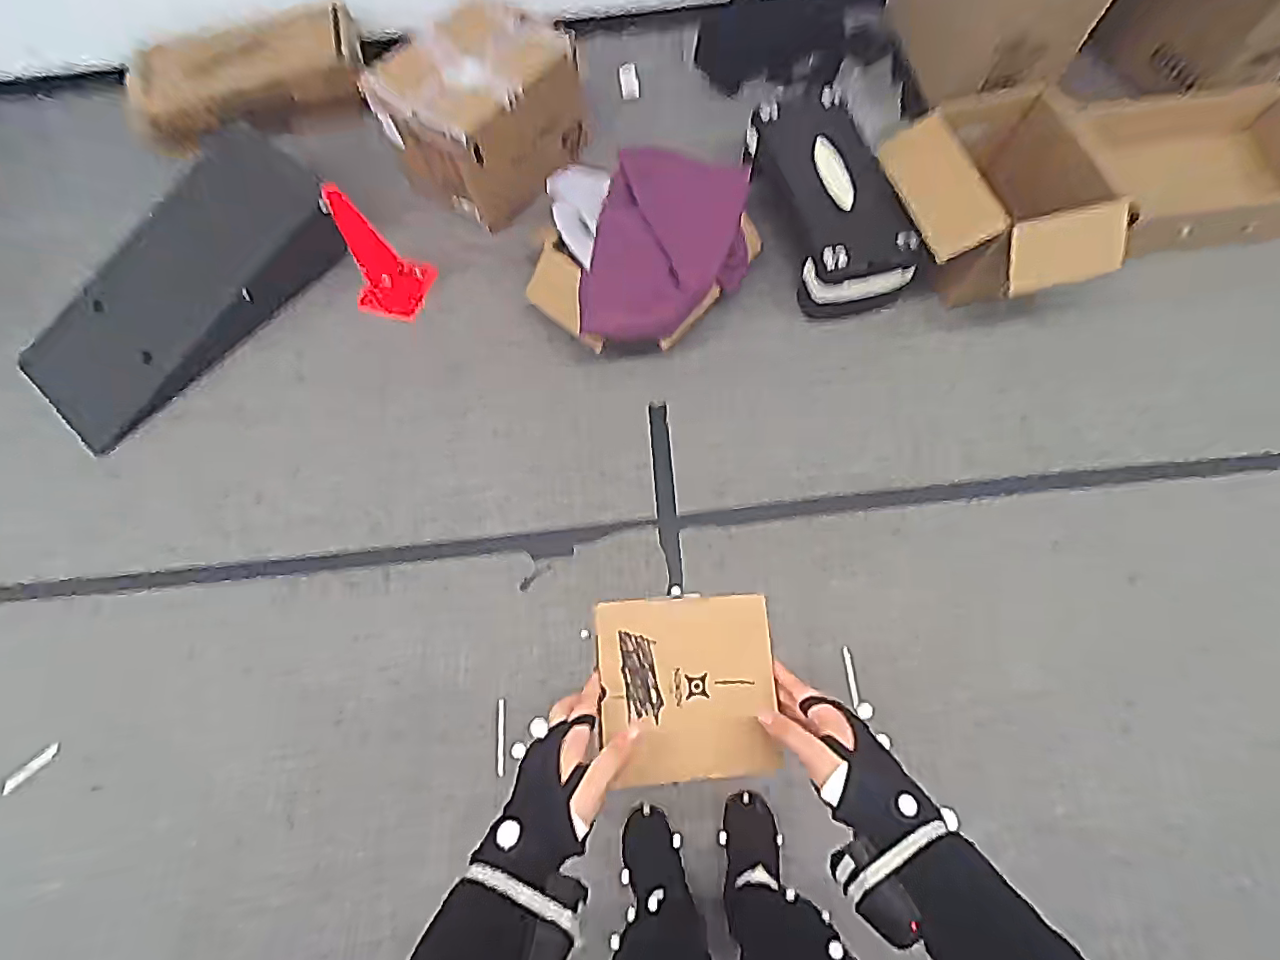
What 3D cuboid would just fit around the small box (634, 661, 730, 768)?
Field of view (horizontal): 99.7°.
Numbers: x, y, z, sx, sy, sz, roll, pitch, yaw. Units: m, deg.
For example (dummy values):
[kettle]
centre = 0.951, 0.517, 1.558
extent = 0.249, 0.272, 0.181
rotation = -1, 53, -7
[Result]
[small box]
centre = 0.083, 0.488, 1.143
extent = 0.168, 0.176, 0.179
rotation = -10, 71, 0
